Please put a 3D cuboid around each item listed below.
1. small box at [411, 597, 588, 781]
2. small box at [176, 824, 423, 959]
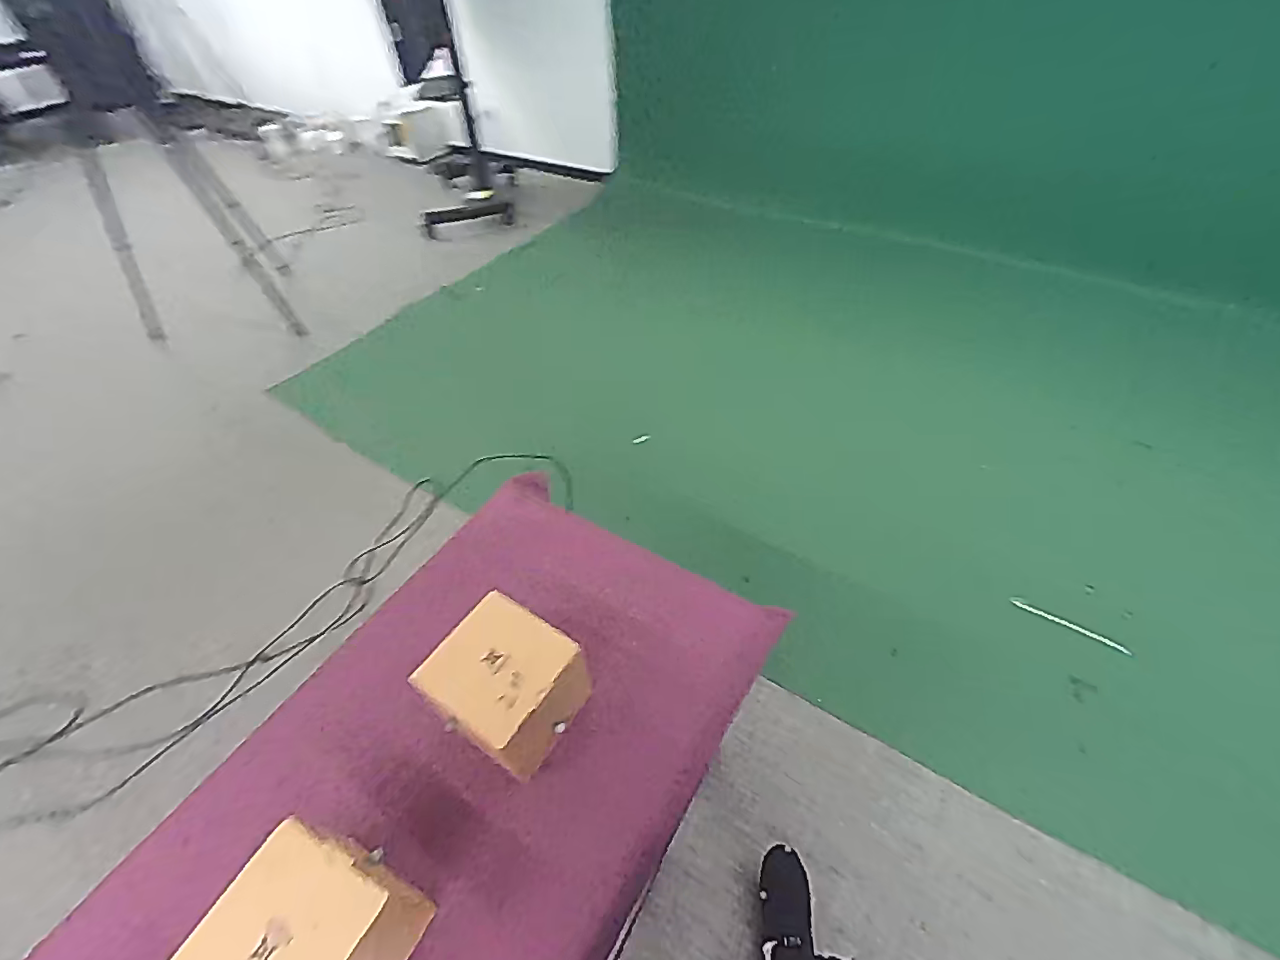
[{"bbox_3d":[-0.199,0.315,0.809,0.179,0.176,0.168,25,54,24],"label":"small box"},{"bbox_3d":[-0.375,0.538,0.613,0.168,0.176,0.179,20,51,20],"label":"small box"}]
